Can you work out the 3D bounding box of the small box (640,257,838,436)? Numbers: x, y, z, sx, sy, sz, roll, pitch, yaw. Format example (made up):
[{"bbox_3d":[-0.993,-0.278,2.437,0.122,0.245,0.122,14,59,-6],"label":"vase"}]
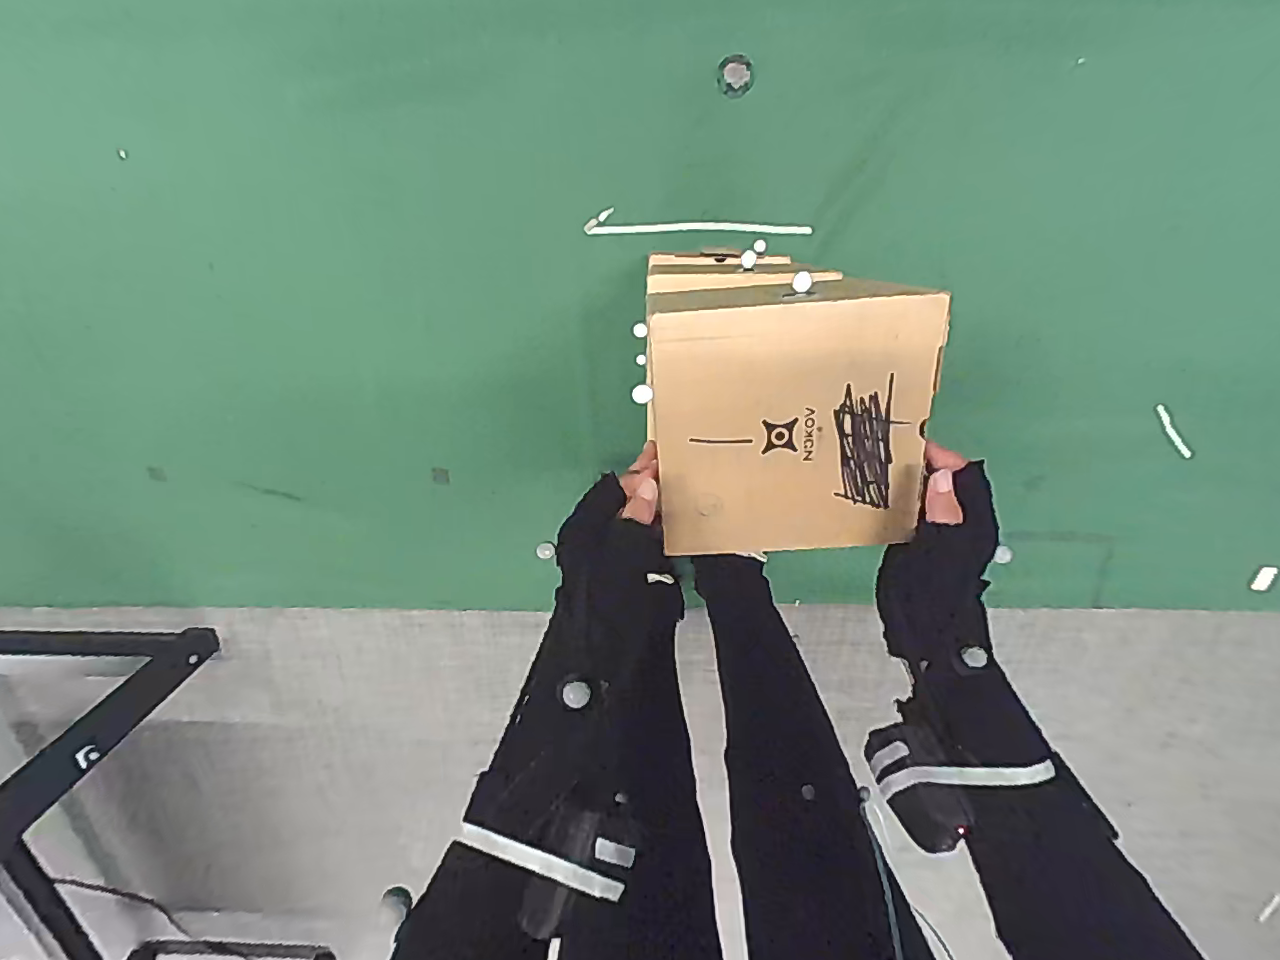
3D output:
[{"bbox_3d":[0.090,-0.147,0.581,0.179,0.176,0.168,0,114,1],"label":"small box"}]

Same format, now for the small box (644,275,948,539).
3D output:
[{"bbox_3d":[0.093,-0.067,0.414,0.179,0.176,0.168,-1,111,1],"label":"small box"}]
